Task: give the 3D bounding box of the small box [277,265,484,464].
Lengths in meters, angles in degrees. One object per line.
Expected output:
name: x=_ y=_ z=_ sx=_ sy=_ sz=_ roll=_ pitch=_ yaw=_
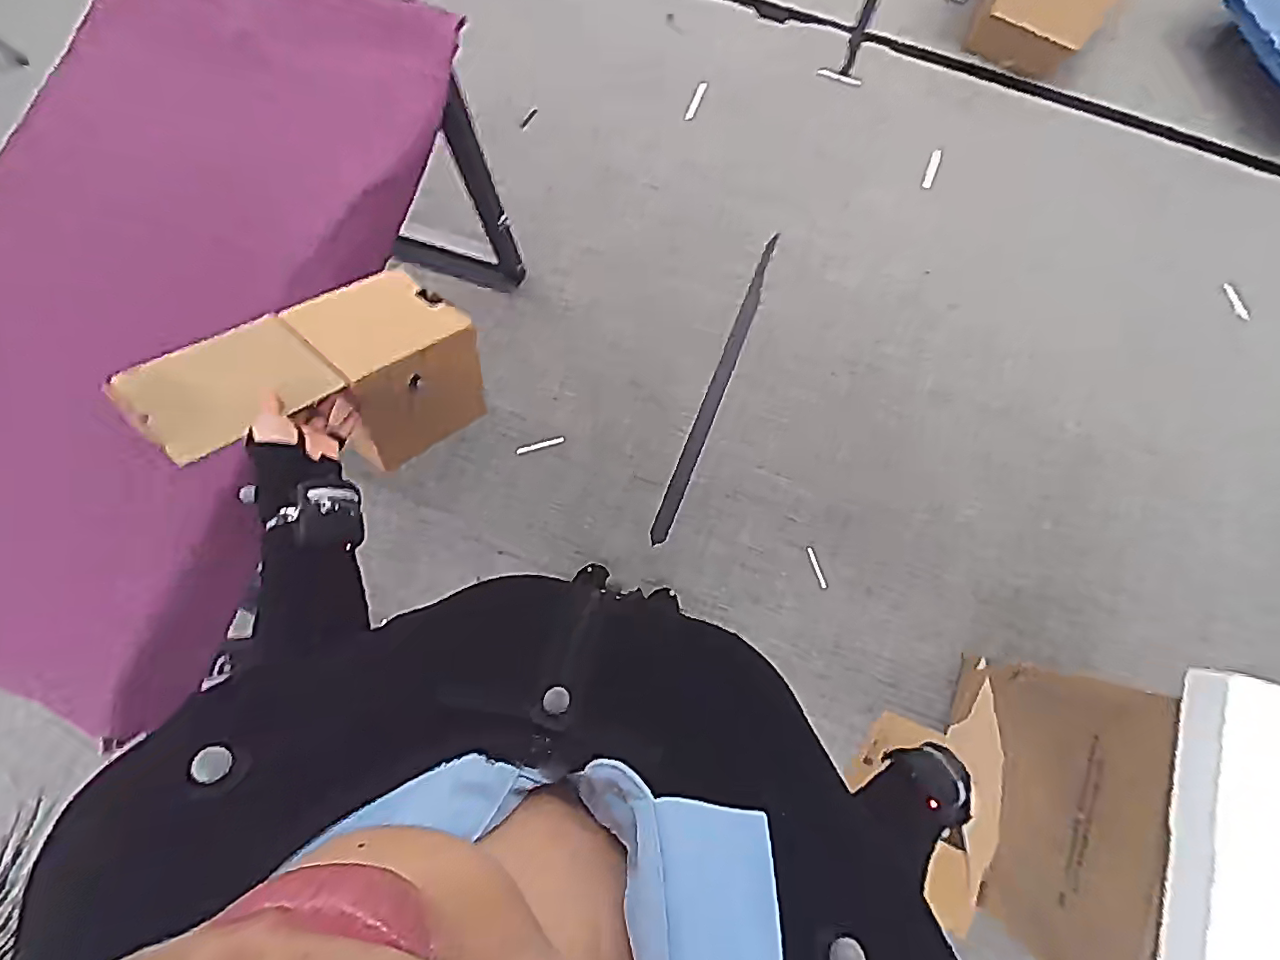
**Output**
small box: x=-0.336 y=-0.154 z=0.736 sx=0.168 sy=0.176 sz=0.179 roll=37 pitch=57 yaw=21
